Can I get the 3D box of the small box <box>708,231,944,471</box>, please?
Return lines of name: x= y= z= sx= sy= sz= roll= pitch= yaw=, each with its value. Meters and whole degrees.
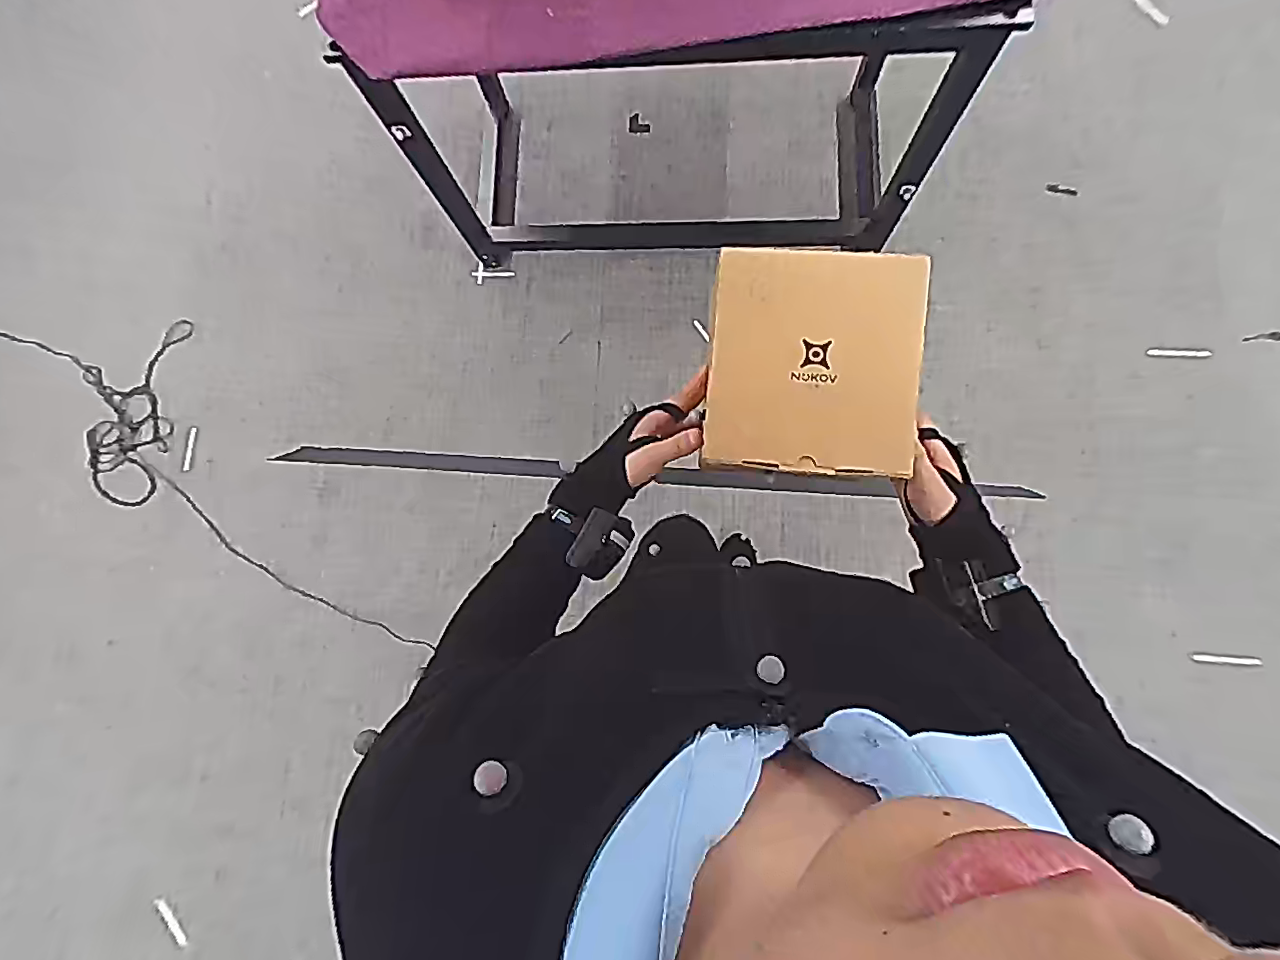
small box: x=0.152 y=-0.103 z=0.499 sx=0.168 sy=0.176 sz=0.179 roll=4 pitch=90 yaw=5
